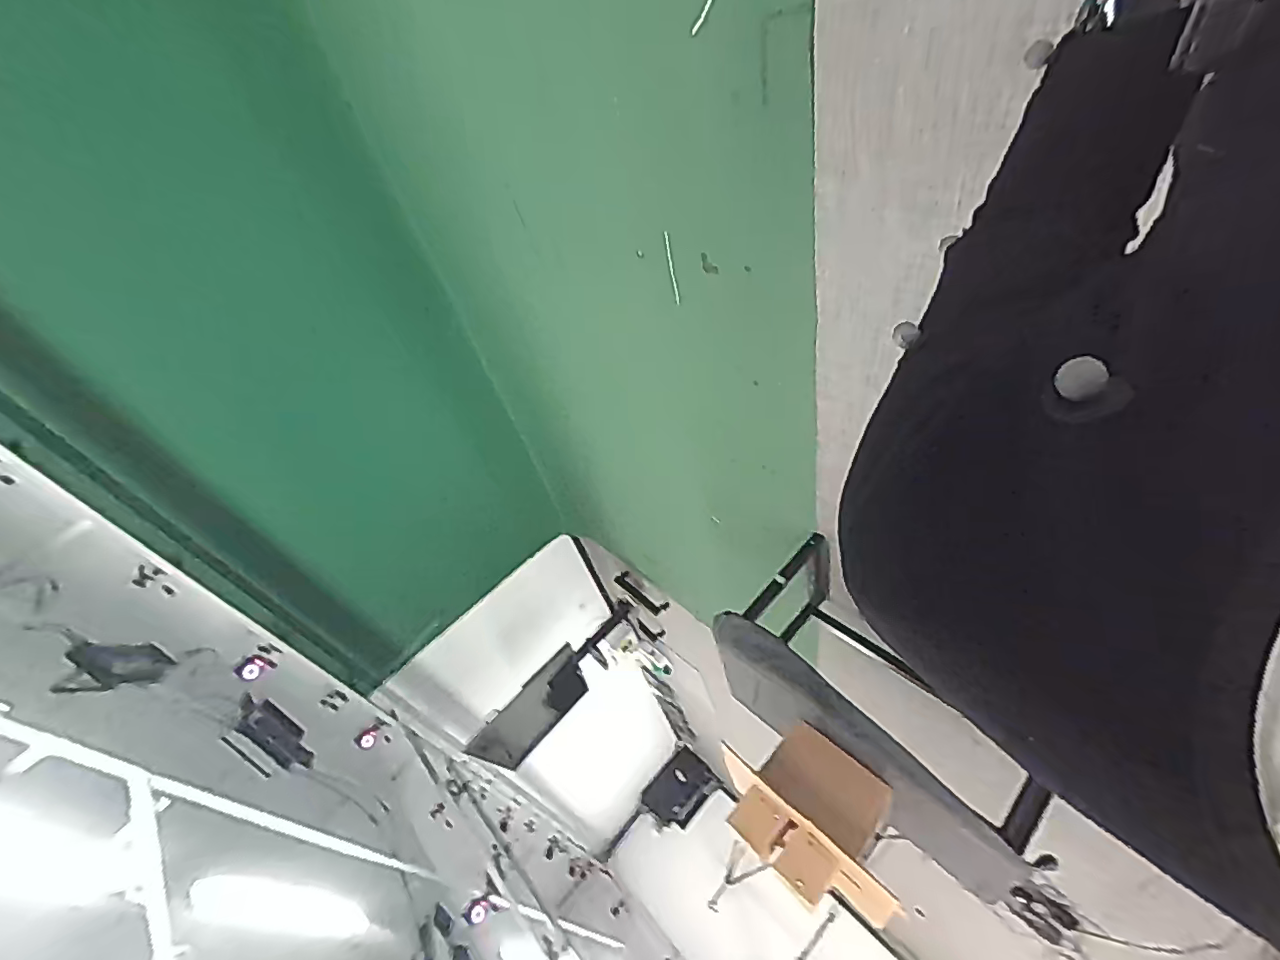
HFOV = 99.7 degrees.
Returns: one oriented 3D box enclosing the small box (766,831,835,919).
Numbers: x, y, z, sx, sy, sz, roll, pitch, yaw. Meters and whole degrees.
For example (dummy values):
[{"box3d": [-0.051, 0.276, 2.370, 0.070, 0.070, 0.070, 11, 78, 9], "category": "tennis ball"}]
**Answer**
[{"box3d": [0.555, 1.356, 1.861, 0.168, 0.176, 0.179, 29, 150, 38], "category": "small box"}]
